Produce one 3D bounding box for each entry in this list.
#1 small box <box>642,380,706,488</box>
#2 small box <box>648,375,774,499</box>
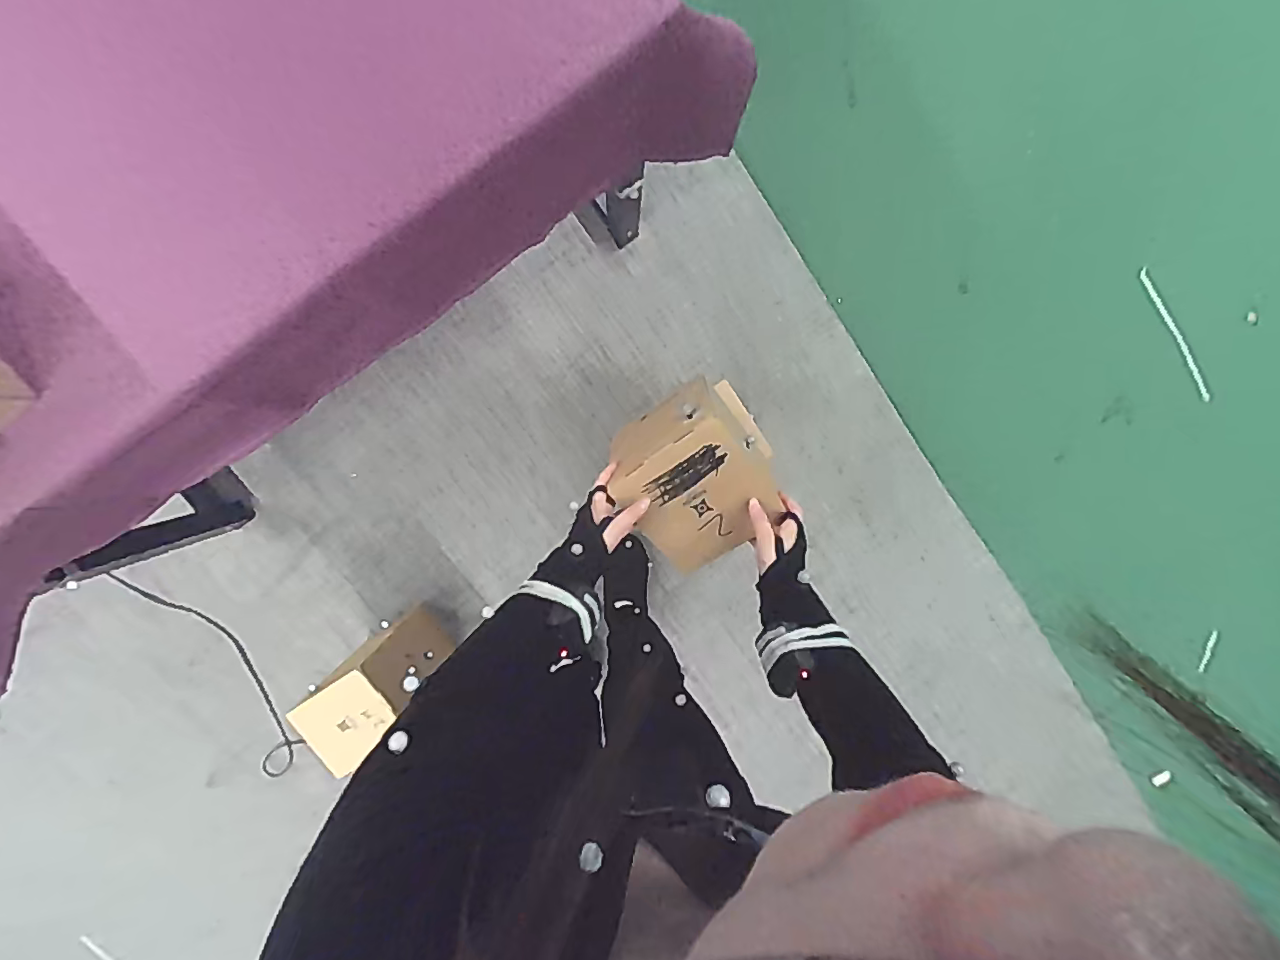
[{"bbox_3d":[0.118,-0.107,1.227,0.179,0.176,0.168,-37,98,3],"label":"small box"},{"bbox_3d":[0.132,-0.089,1.066,0.168,0.176,0.179,-35,98,1],"label":"small box"}]
